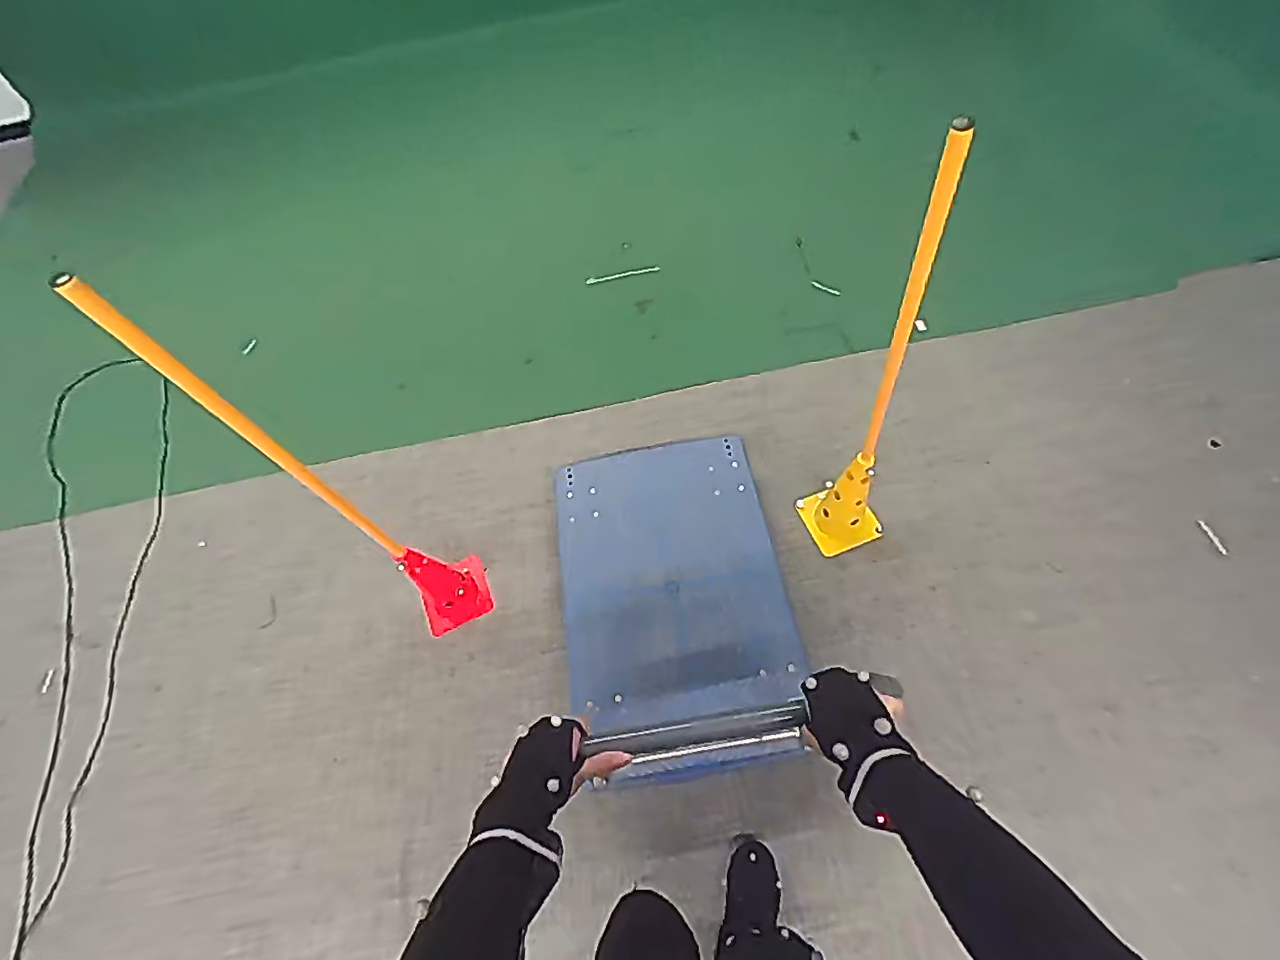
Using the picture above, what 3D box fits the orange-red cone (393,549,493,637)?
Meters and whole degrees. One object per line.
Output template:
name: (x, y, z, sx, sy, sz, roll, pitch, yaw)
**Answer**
orange-red cone: (-0.580, 0.276, 1.500, 0.199, 0.360, 0.198, -25, 60, -5)
